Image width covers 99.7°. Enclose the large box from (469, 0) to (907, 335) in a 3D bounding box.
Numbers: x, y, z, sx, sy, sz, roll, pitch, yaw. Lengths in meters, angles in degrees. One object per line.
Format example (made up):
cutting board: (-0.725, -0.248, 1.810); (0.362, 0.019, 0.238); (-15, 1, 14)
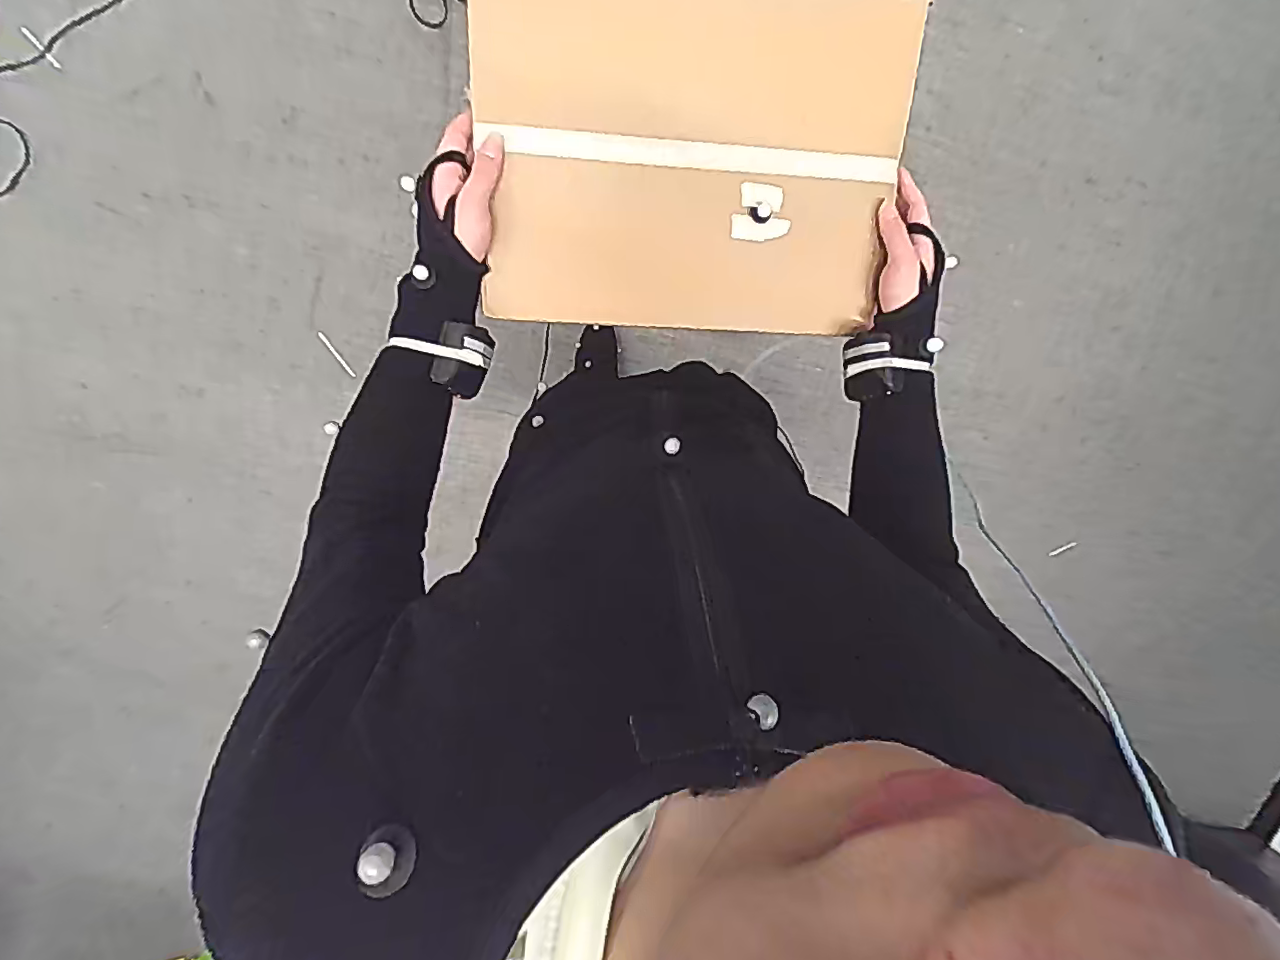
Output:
large box: (0.027, -0.350, 0.662); (0.408, 0.320, 0.320); (0, 110, -8)
